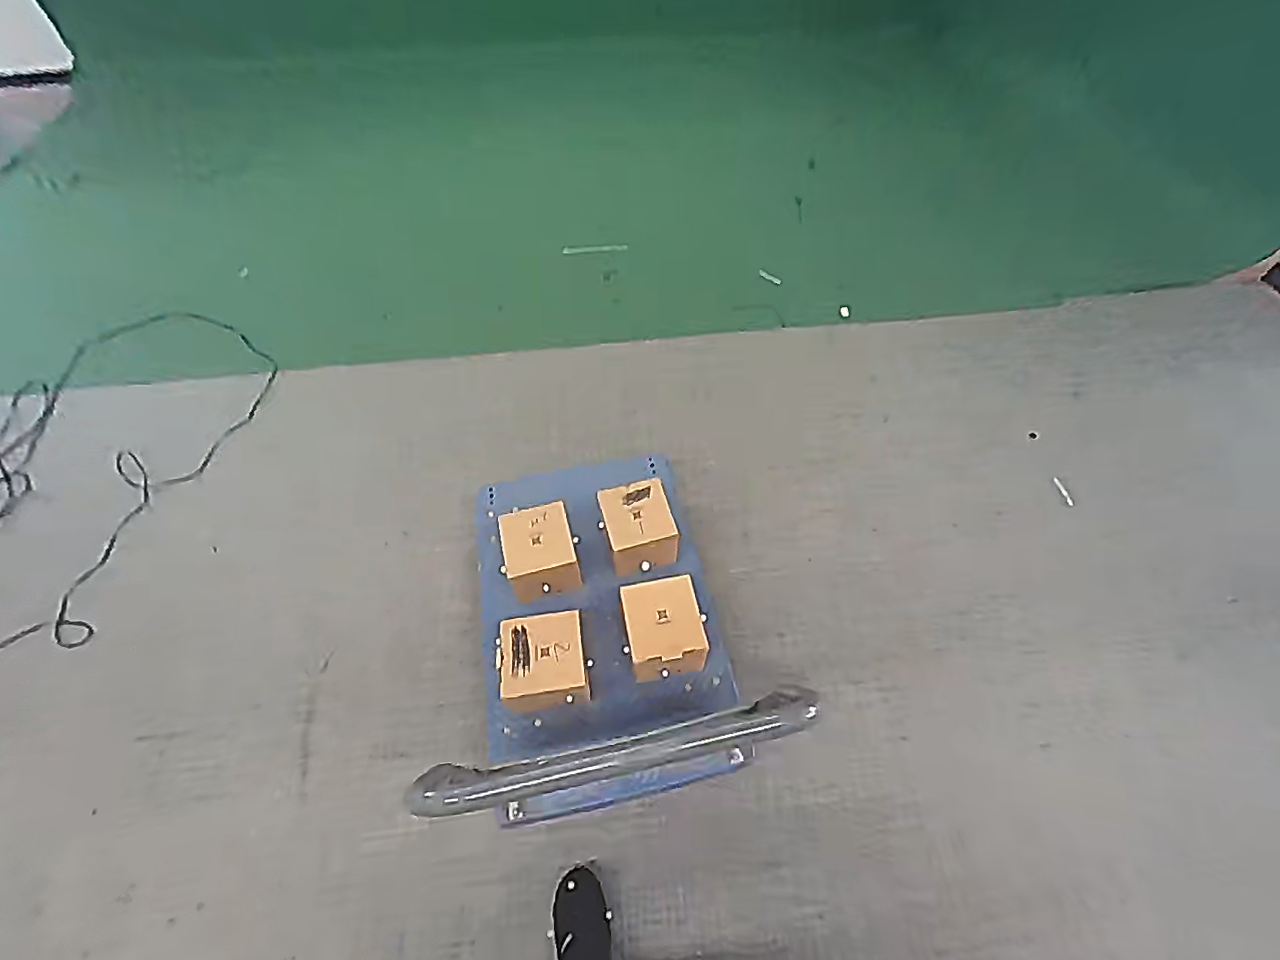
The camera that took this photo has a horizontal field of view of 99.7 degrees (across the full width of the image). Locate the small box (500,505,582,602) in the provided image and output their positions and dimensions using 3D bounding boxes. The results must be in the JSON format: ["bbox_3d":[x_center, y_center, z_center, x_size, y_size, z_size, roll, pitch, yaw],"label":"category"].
[{"bbox_3d":[-0.247,0.193,1.368,0.168,0.176,0.179,-13,57,-8],"label":"small box"}]

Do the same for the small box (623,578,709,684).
[{"bbox_3d":[0.053,0.354,1.258,0.168,0.176,0.179,-10,57,-6],"label":"small box"}]

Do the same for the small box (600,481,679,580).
[{"bbox_3d":[-0.004,0.133,1.404,0.168,0.176,0.179,-14,58,-7],"label":"small box"}]
